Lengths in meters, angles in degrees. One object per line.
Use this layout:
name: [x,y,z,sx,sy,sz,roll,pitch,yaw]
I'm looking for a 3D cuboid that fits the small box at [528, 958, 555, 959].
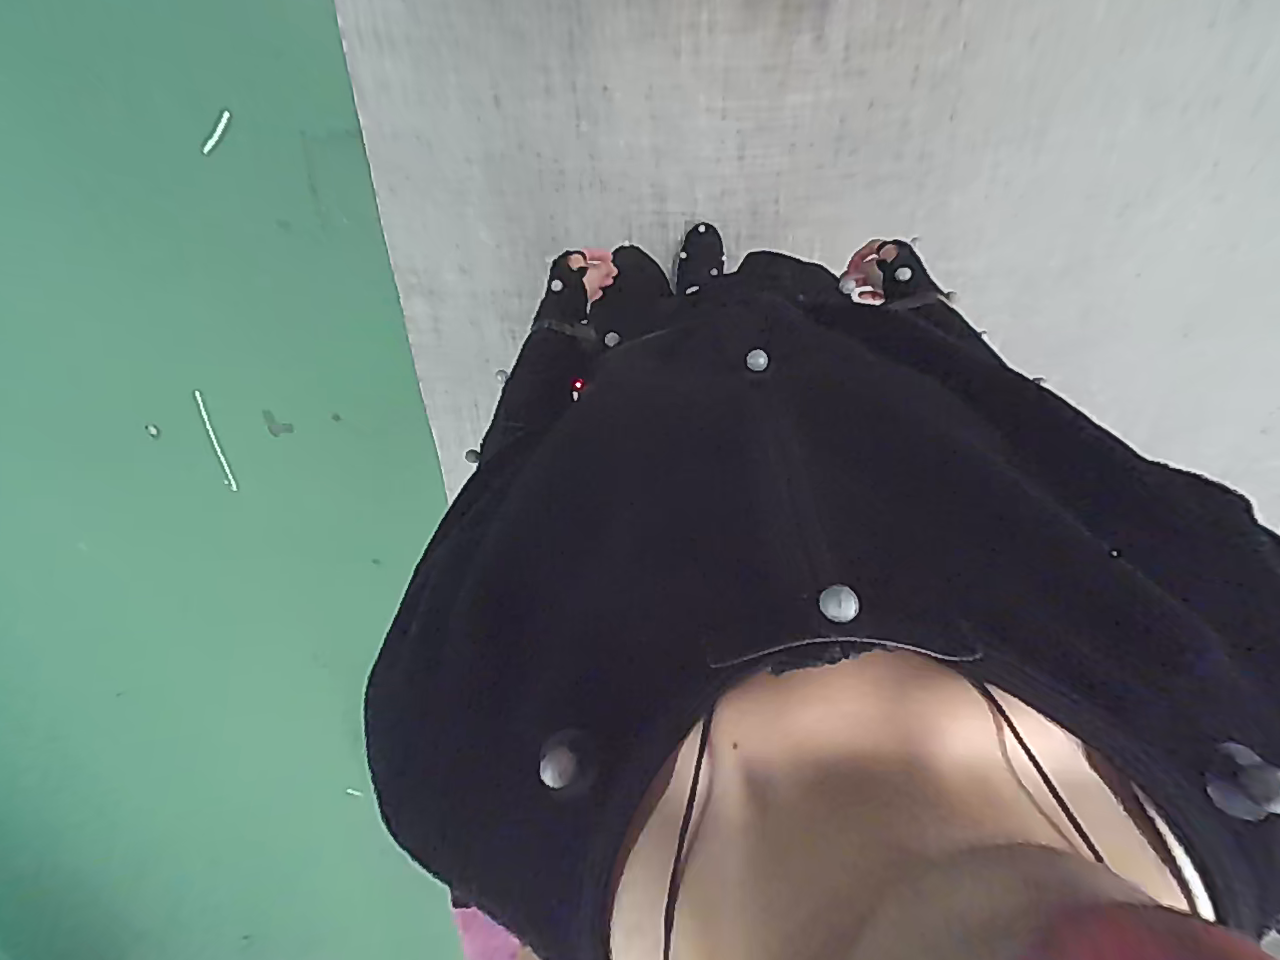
small box: [-0.225,1.317,1.331,0.179,0.176,0.168,1,117,2]
